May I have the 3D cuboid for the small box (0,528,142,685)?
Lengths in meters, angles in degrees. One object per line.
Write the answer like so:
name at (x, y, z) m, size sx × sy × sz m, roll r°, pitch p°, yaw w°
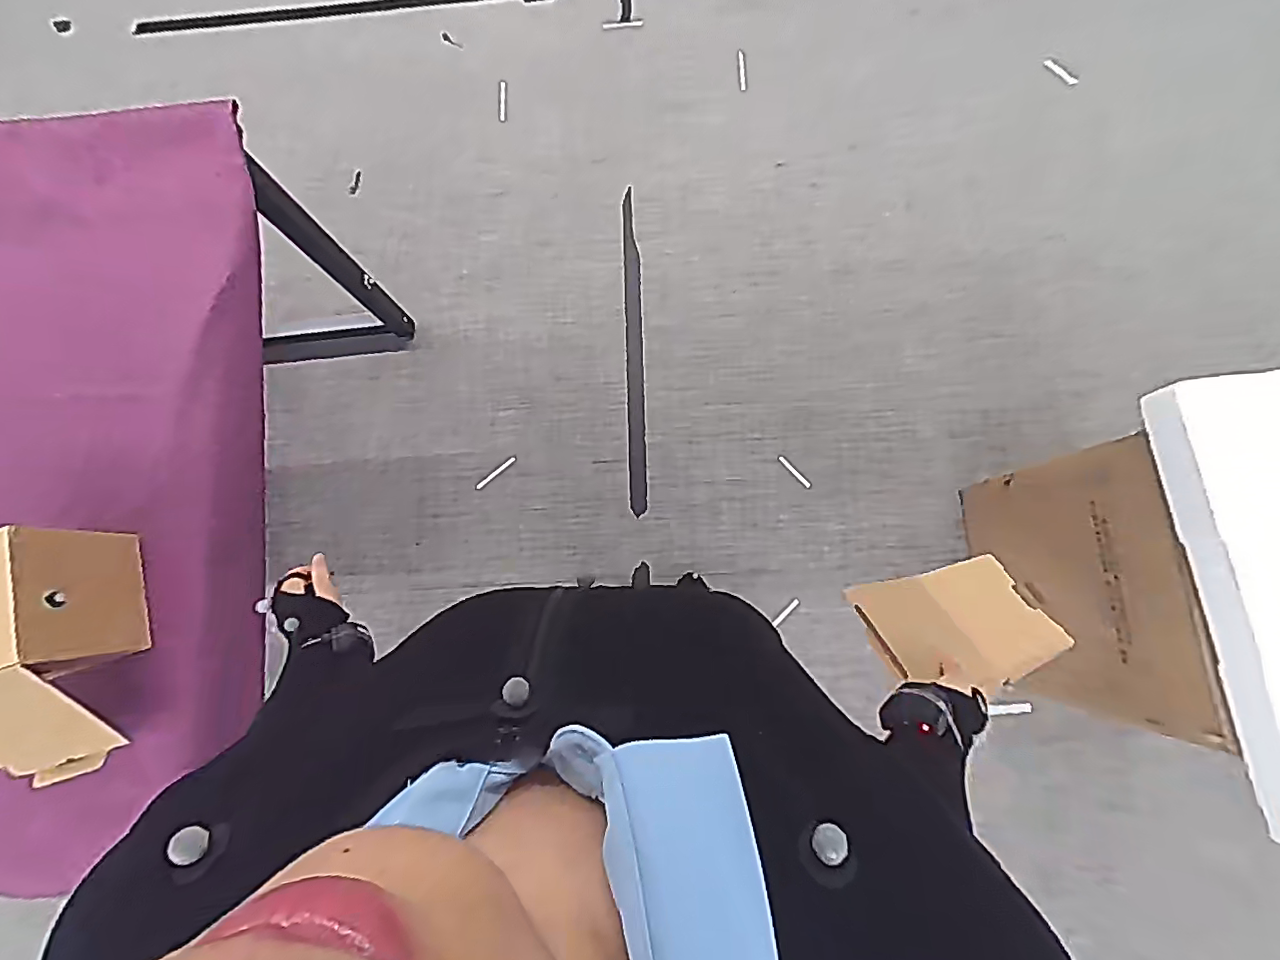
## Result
small box at (-0.825, 0.175, 0.726) m, size 0.168 × 0.176 × 0.179 m, roll -17°, pitch 78°, yaw 0°
